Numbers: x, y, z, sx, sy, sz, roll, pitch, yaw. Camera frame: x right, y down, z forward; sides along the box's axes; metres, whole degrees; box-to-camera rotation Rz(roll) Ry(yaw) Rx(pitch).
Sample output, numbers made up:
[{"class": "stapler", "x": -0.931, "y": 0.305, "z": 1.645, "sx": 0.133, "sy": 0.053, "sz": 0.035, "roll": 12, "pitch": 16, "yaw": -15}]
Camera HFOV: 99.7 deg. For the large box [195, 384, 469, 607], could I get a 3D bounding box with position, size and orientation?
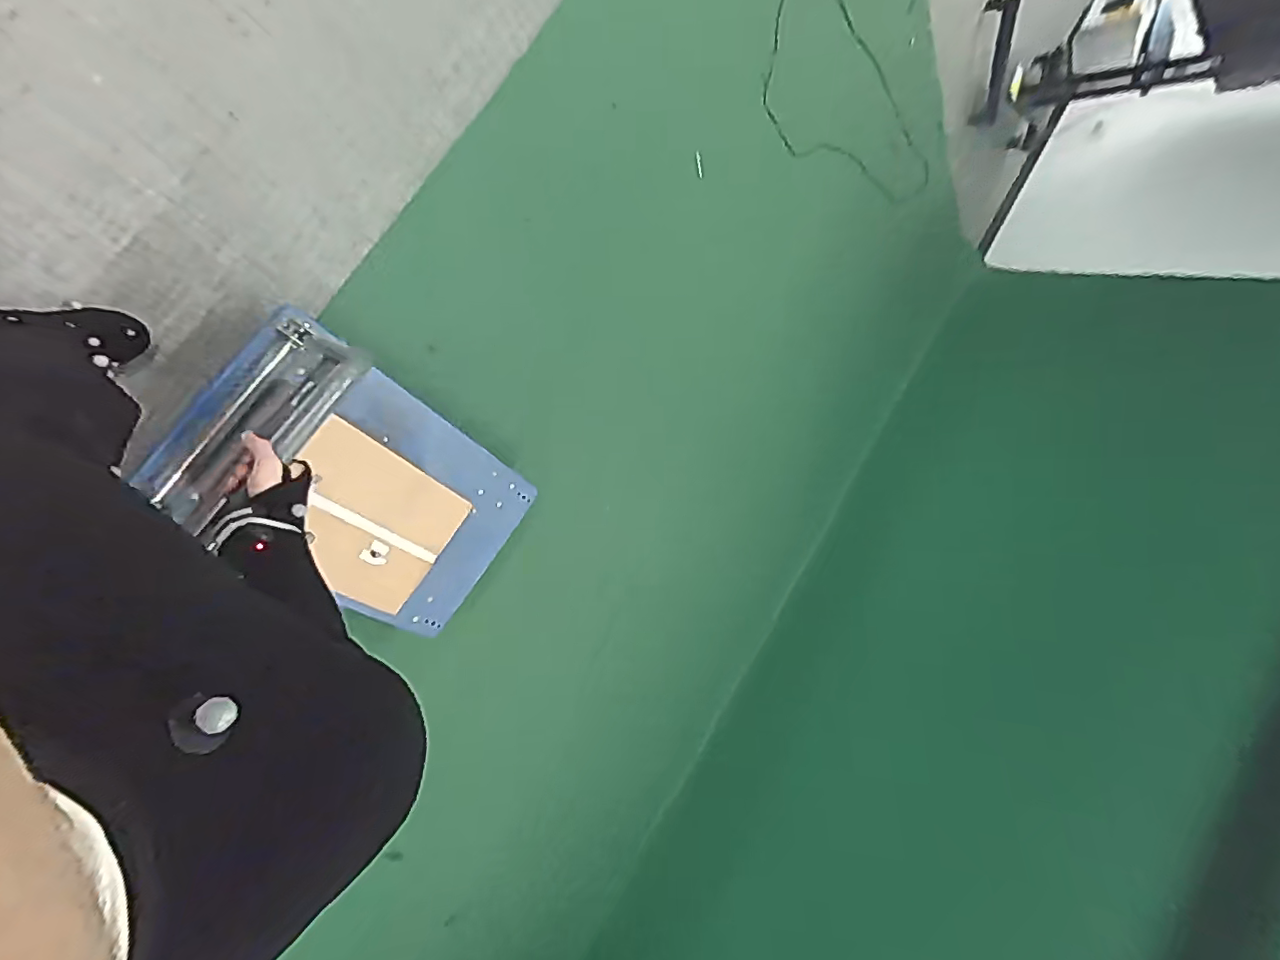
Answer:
[{"class": "large box", "x": -0.696, "y": 0.035, "z": 1.247, "sx": 0.320, "sy": 0.320, "sz": 0.408, "roll": -56, "pitch": 136, "yaw": -11}]
